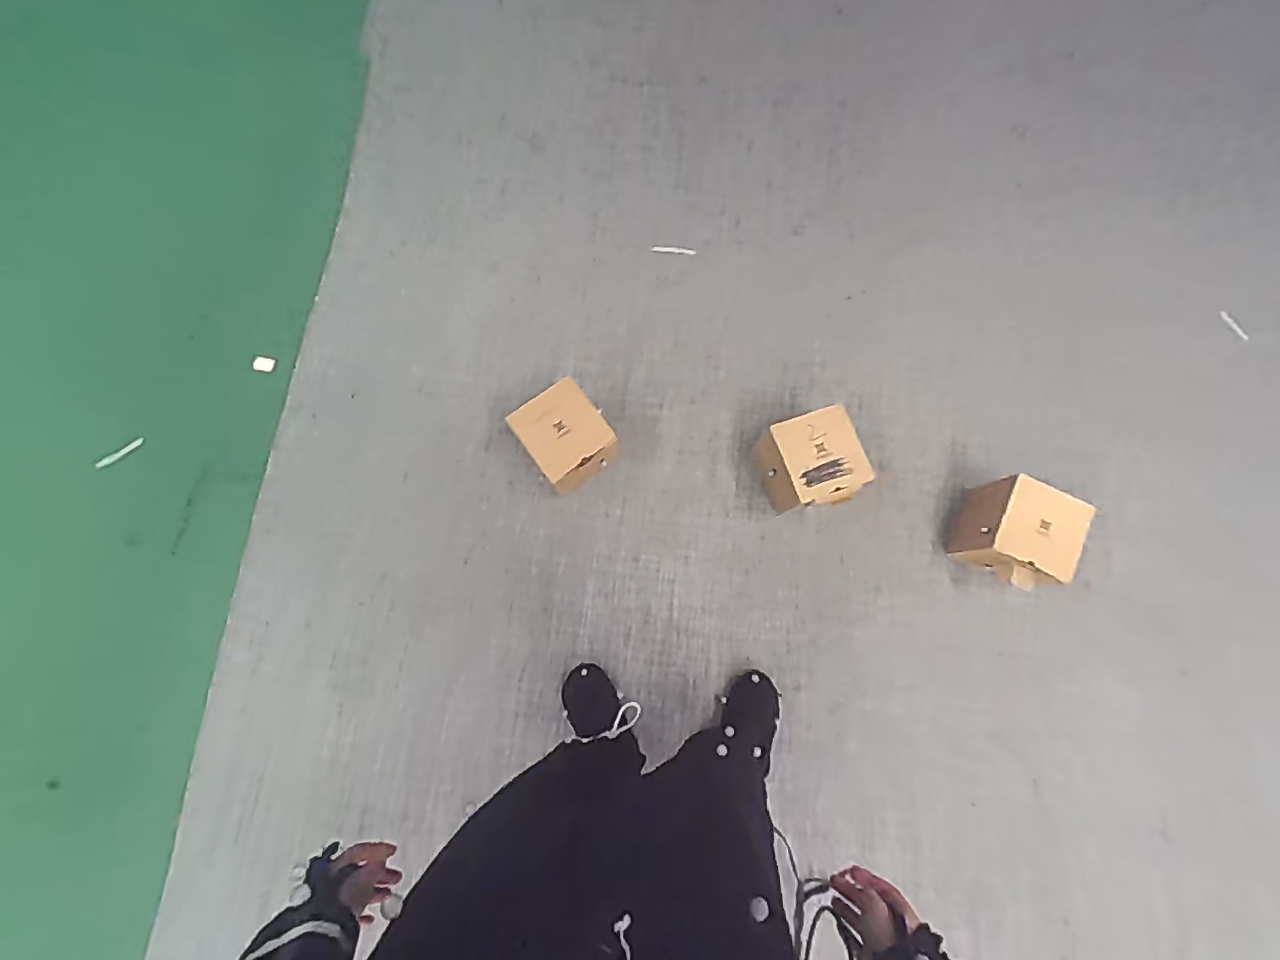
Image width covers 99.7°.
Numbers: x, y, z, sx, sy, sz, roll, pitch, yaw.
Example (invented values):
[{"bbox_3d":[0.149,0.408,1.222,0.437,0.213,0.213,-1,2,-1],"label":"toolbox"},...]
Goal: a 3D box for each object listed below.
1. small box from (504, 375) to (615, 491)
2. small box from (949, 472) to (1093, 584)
[{"bbox_3d":[-0.165,-0.091,1.181,0.168,0.176,0.179,-36,80,-9],"label":"small box"},{"bbox_3d":[0.804,0.108,1.157,0.168,0.176,0.179,26,79,4],"label":"small box"}]
